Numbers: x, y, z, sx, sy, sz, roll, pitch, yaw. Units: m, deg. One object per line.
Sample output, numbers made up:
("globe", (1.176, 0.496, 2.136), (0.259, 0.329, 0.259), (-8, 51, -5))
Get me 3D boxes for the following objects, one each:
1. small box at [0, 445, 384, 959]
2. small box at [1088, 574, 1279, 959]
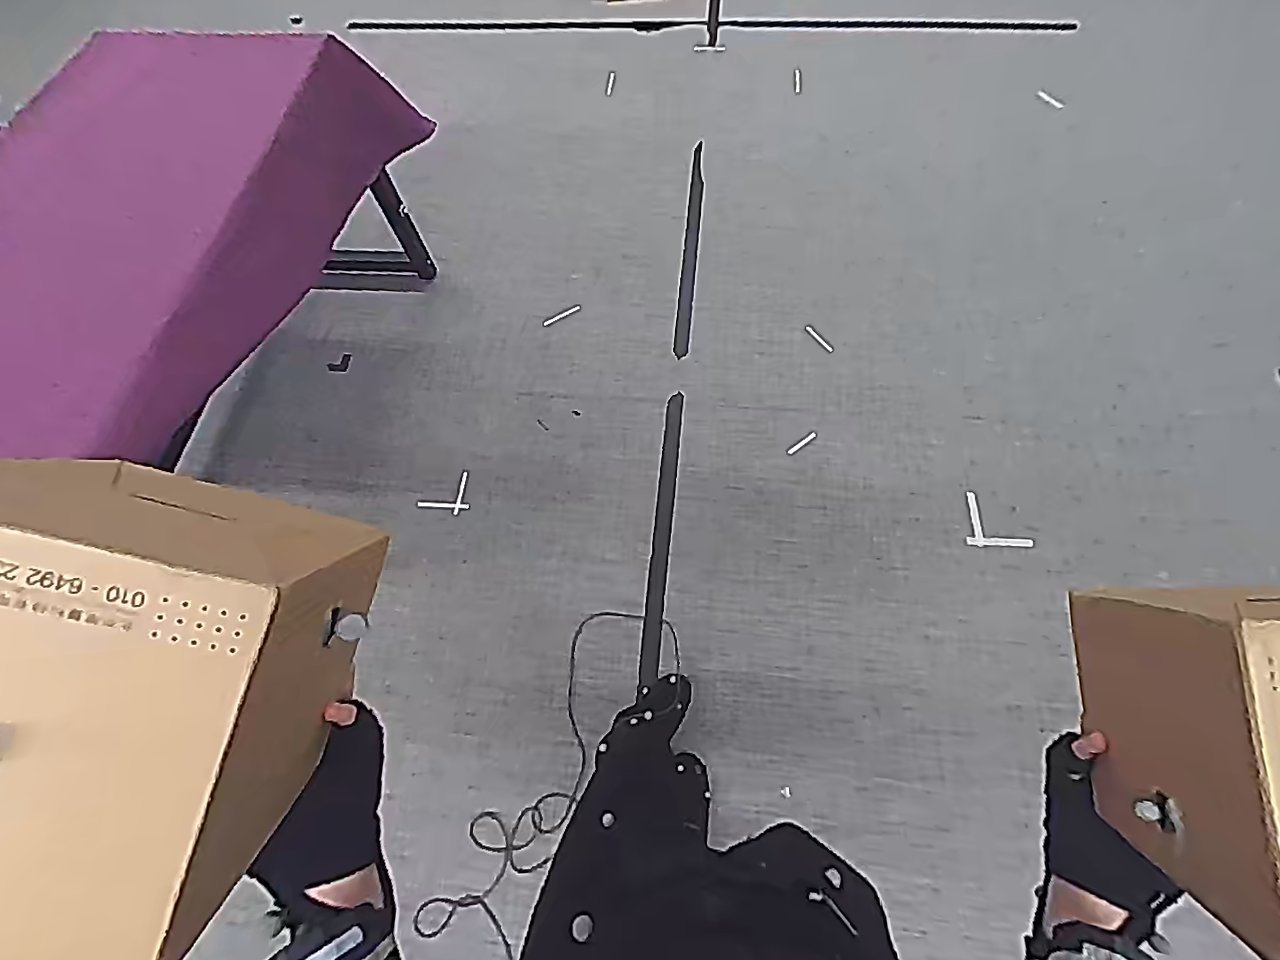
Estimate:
("small box", (-0.248, 0.082, 0.258), (0.168, 0.179, 0.176), (18, 87, -11))
("small box", (0.388, 0.143, 0.299), (0.168, 0.179, 0.176), (-3, 83, 16))
